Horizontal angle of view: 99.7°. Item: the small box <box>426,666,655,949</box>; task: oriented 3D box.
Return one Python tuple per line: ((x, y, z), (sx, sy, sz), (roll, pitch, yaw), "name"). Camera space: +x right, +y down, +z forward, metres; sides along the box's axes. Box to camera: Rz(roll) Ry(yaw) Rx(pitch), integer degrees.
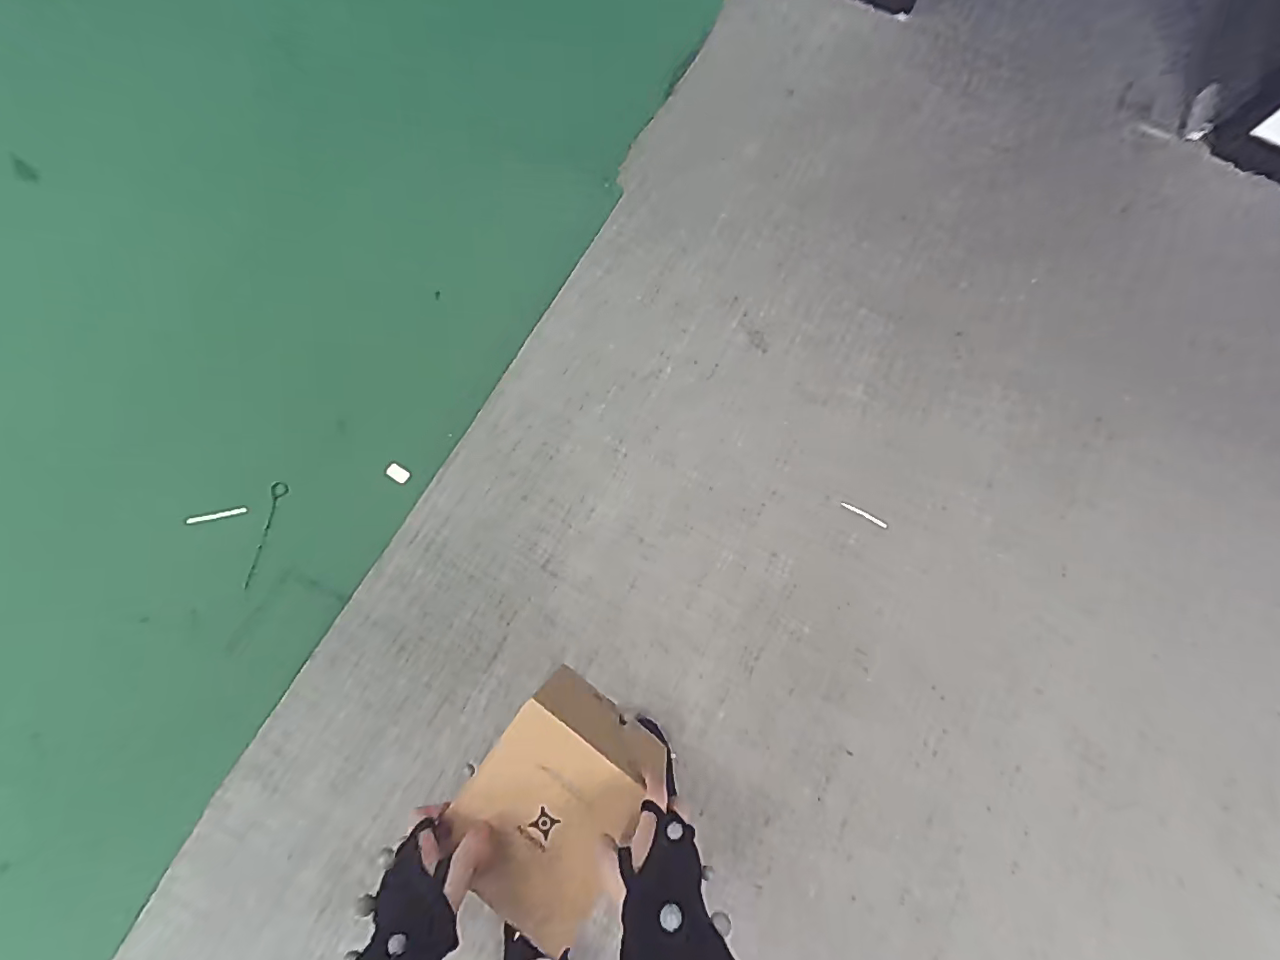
((-0.093, 0.341, 0.605), (0.168, 0.176, 0.179), (36, 86, 6), "small box")
